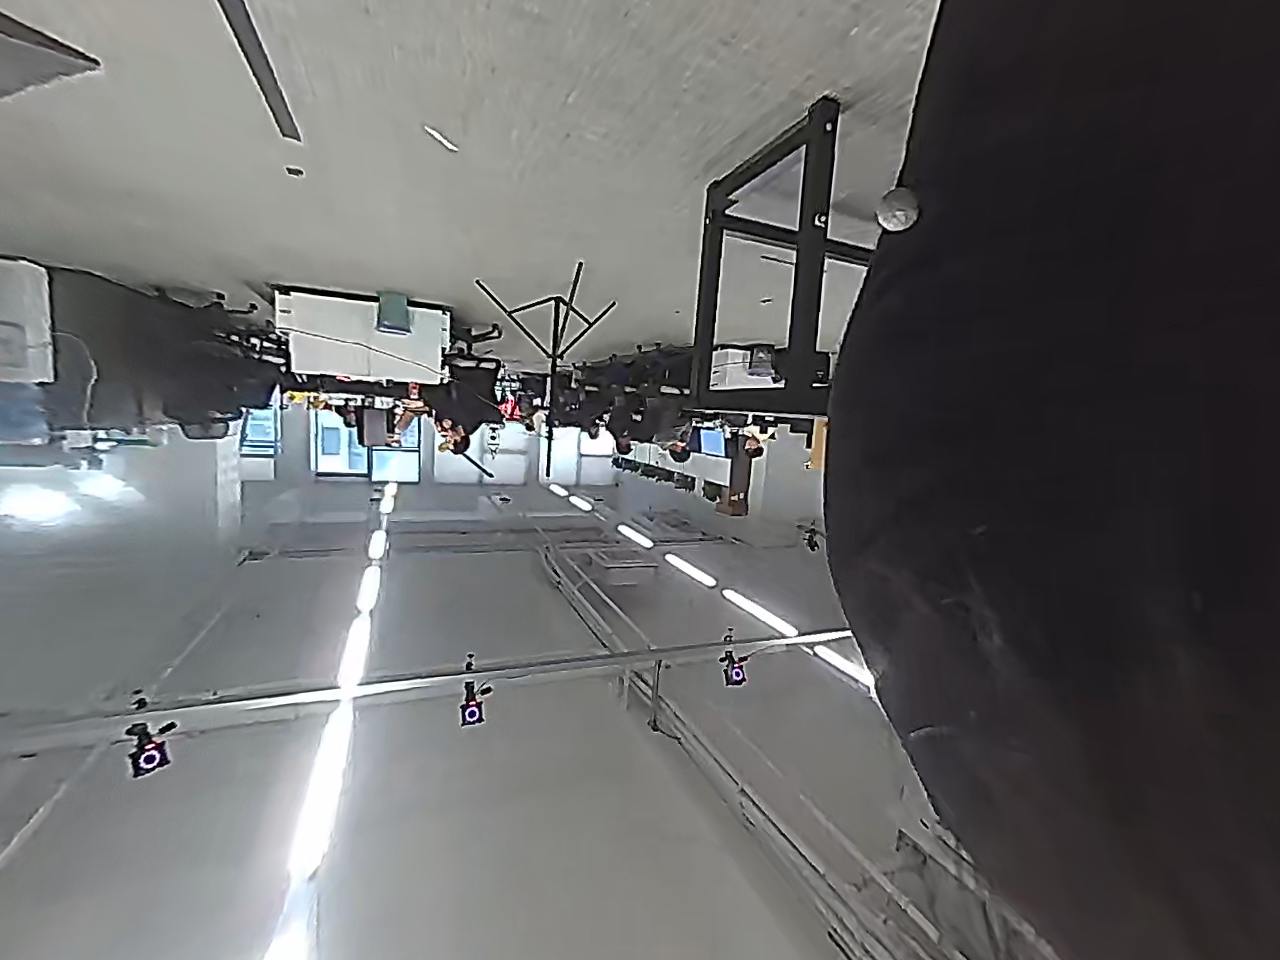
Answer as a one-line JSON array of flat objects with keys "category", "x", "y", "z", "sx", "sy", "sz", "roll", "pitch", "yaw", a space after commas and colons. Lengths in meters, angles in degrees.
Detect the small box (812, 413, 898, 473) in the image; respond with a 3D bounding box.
[{"category": "small box", "x": 0.659, "y": -0.117, "z": 1.662, "sx": 0.179, "sy": 0.176, "sz": 0.168, "roll": 1, "pitch": -171, "yaw": -22}]
